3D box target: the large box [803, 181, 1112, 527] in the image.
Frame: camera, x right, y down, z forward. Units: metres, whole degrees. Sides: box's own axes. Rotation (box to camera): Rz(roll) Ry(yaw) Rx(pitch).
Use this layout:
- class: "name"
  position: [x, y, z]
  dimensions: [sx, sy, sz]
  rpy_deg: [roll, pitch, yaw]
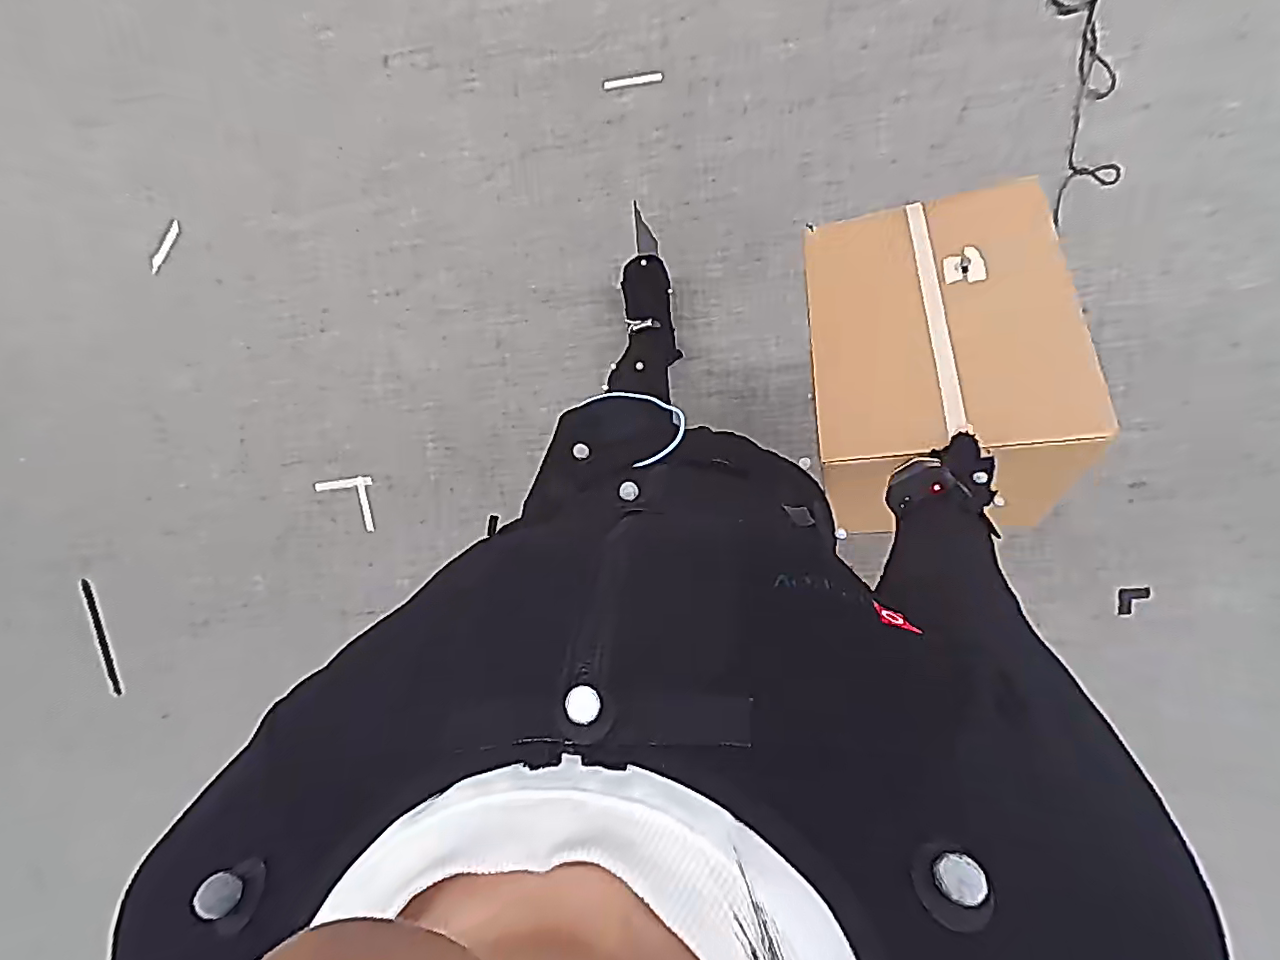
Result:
- class: "large box"
  position: [0.447, -0.170, 0.861]
  dimensions: [0.320, 0.320, 0.408]
  rpy_deg: [-5, 65, 19]
